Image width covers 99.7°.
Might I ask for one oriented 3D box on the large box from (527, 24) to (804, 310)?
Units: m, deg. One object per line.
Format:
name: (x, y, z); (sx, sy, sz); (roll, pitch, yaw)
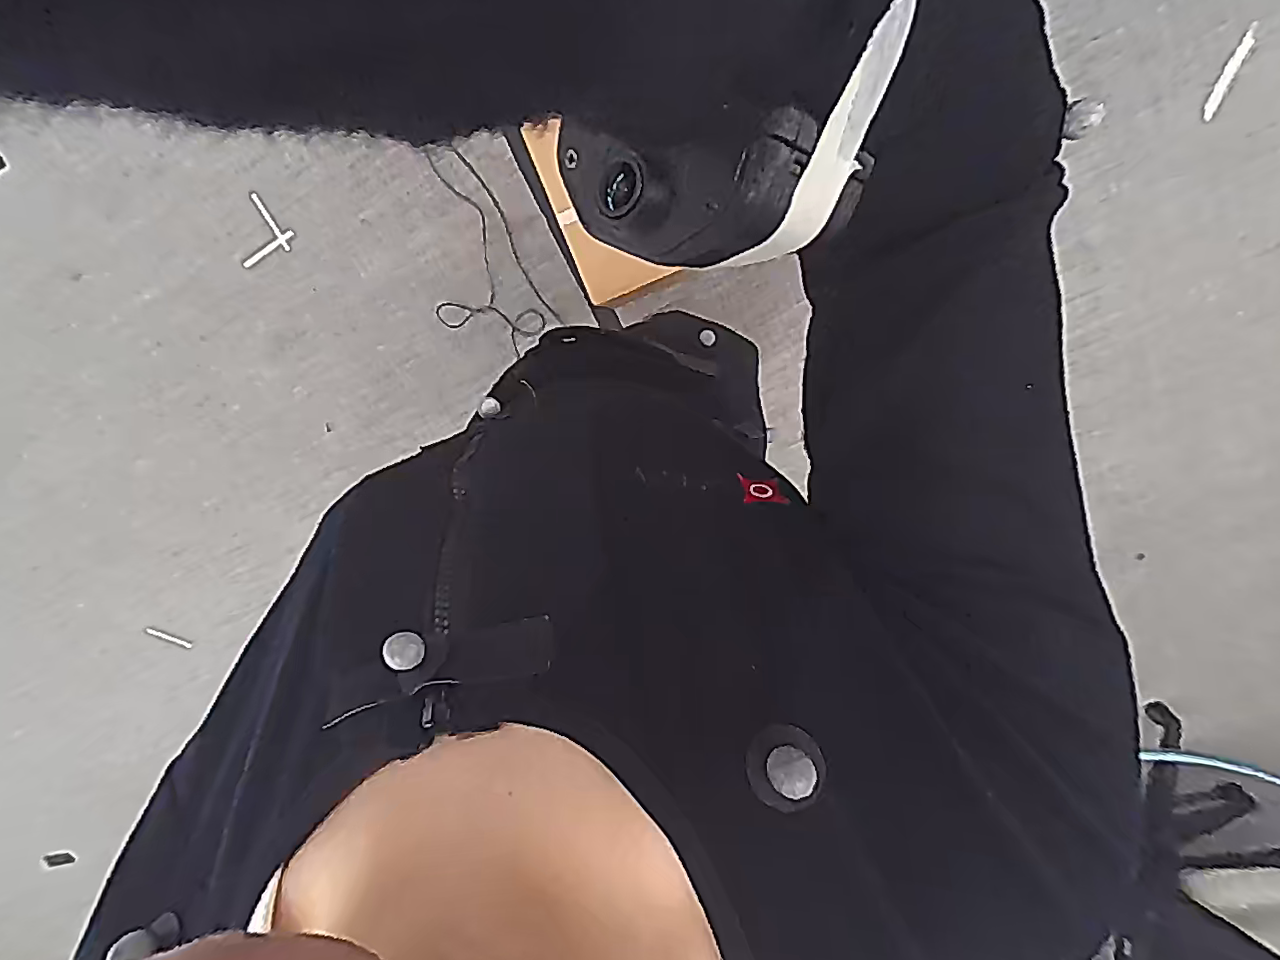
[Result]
large box: (0.055, -0.561, 1.062); (0.408, 0.320, 0.320); (-21, 104, 10)
